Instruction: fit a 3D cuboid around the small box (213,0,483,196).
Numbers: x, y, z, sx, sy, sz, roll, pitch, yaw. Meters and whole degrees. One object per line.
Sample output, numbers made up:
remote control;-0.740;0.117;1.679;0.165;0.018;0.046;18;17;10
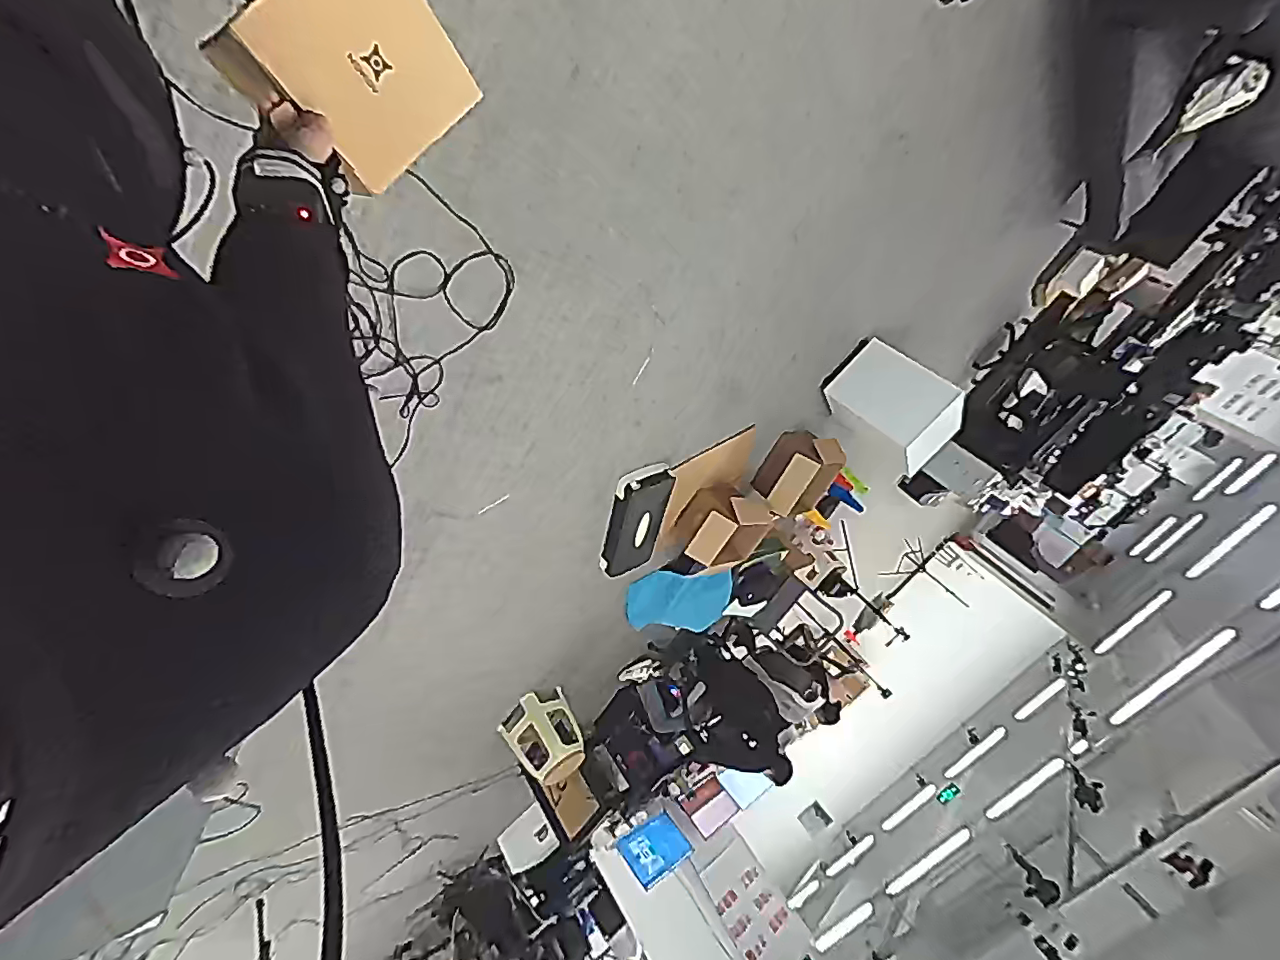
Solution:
small box;-0.314;-0.441;0.583;0.179;0.176;0.168;-51;140;-10
